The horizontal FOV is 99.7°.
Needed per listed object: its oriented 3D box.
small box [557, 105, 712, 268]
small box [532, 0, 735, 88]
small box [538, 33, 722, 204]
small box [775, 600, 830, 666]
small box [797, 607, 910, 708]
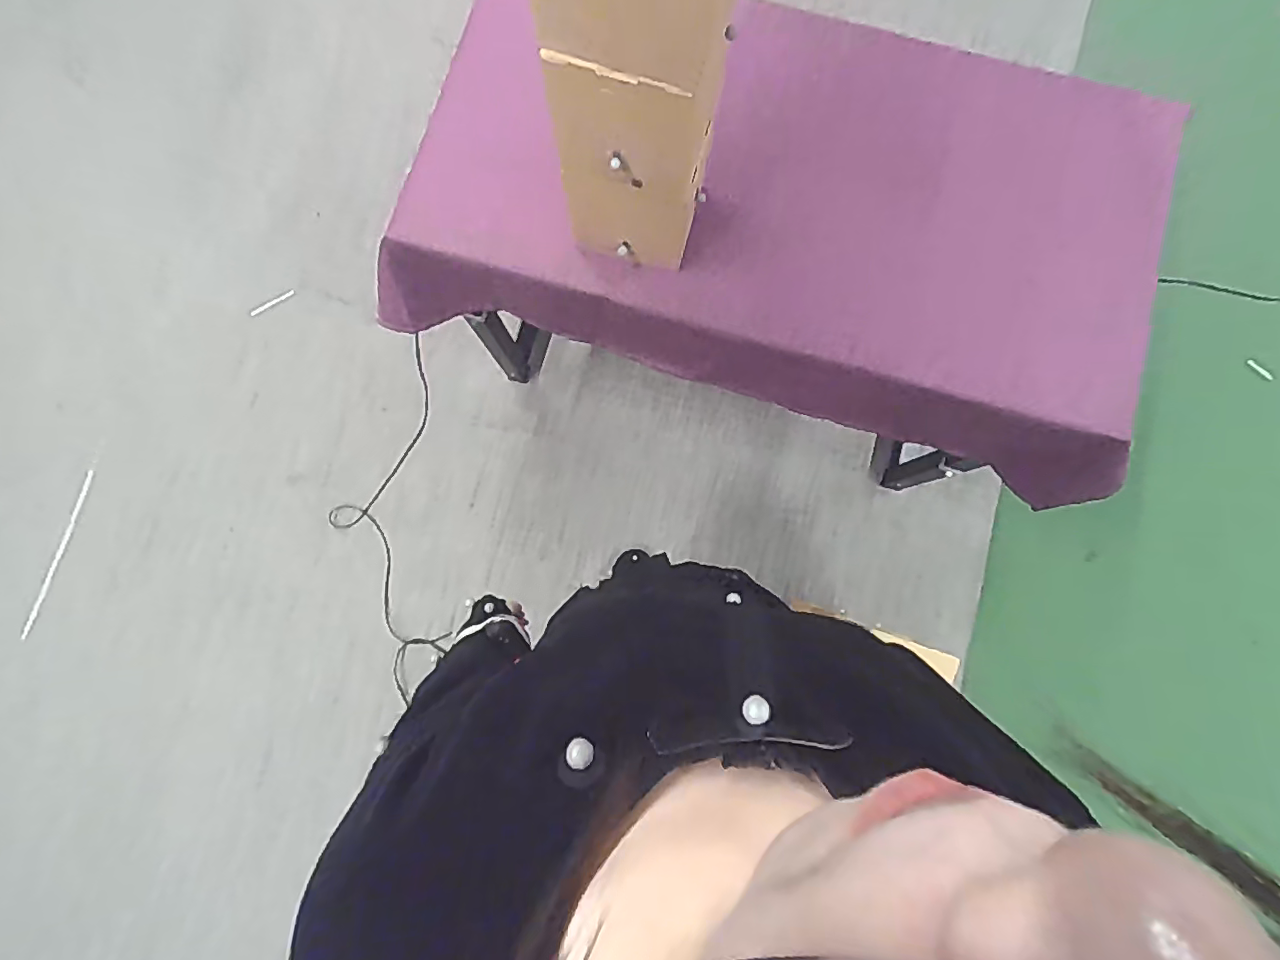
[{"bbox_3d":[-0.008,-0.440,0.799,0.179,0.176,0.168,14,81,1],"label":"small box"},{"bbox_3d":[0.002,-0.494,0.474,0.179,0.176,0.168,18,81,1],"label":"small box"},{"bbox_3d":[-0.005,-0.470,0.636,0.168,0.176,0.179,16,82,2],"label":"small box"},{"bbox_3d":[0.473,0.419,1.413,0.179,0.176,0.168,20,82,2],"label":"small box"},{"bbox_3d":[0.483,0.400,1.252,0.179,0.176,0.168,17,83,1],"label":"small box"}]
